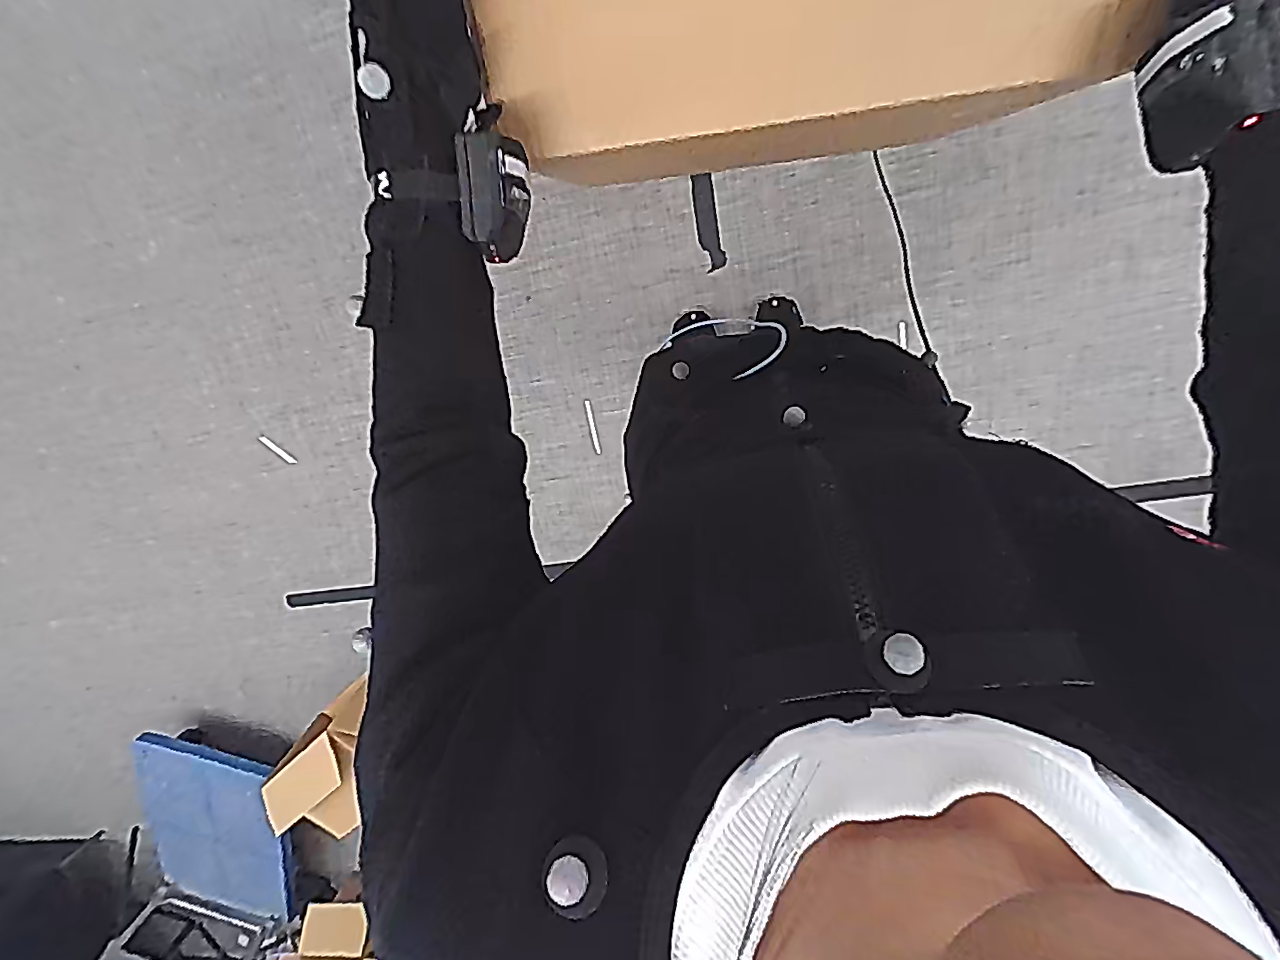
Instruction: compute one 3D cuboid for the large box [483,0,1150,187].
[{"bbox_3d":[0.095,-0.443,0.423,0.408,0.320,0.320,-5,115,6],"label":"large box"}]
